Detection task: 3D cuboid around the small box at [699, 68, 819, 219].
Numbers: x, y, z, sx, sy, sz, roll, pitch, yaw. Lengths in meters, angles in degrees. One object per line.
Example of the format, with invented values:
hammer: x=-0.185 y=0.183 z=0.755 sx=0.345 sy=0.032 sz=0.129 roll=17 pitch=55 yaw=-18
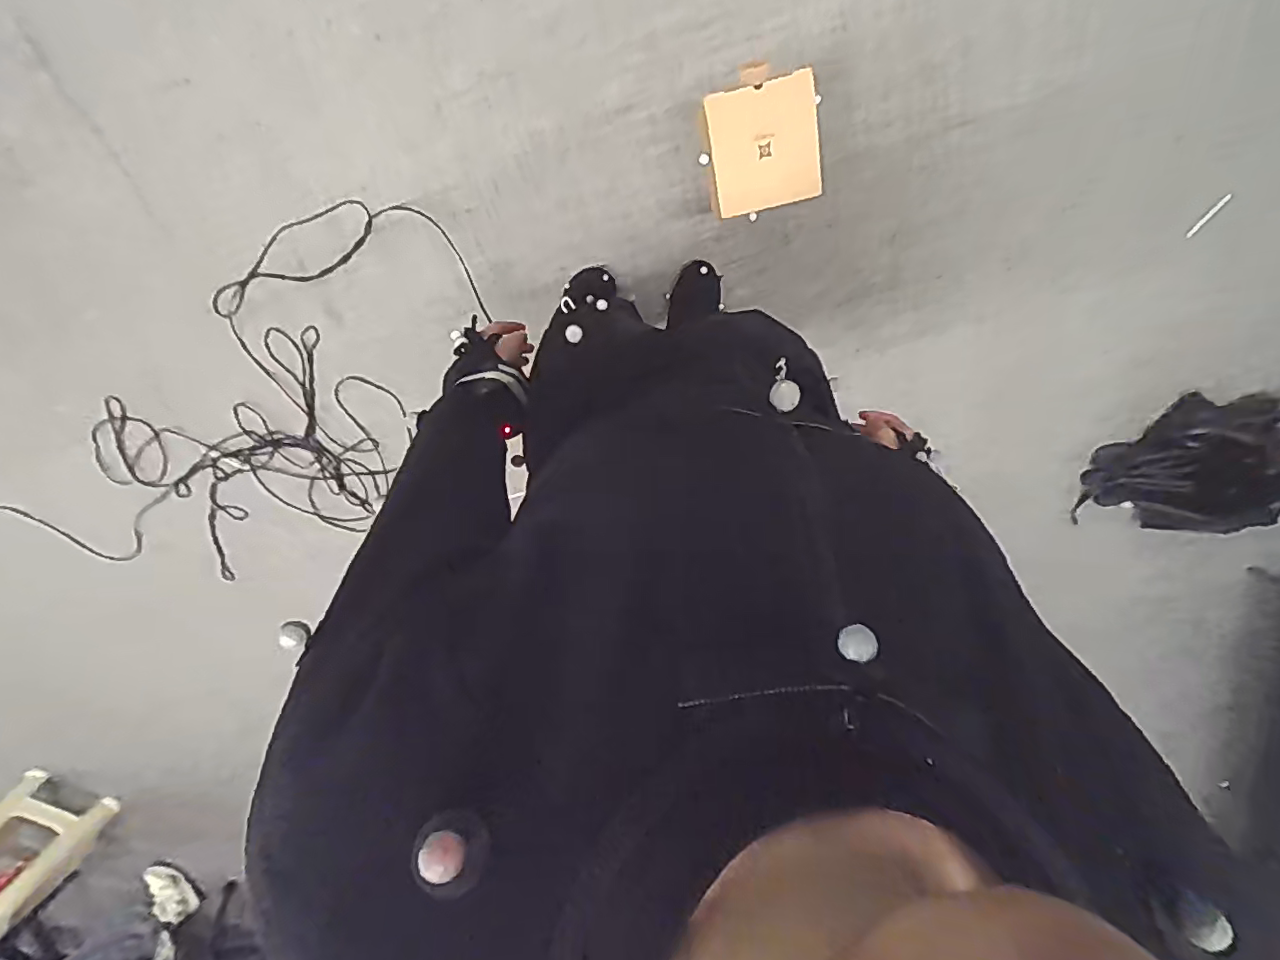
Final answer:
small box: x=0.197 y=-0.555 z=0.917 sx=0.168 sy=0.176 sz=0.179 roll=-11 pitch=114 yaw=8
